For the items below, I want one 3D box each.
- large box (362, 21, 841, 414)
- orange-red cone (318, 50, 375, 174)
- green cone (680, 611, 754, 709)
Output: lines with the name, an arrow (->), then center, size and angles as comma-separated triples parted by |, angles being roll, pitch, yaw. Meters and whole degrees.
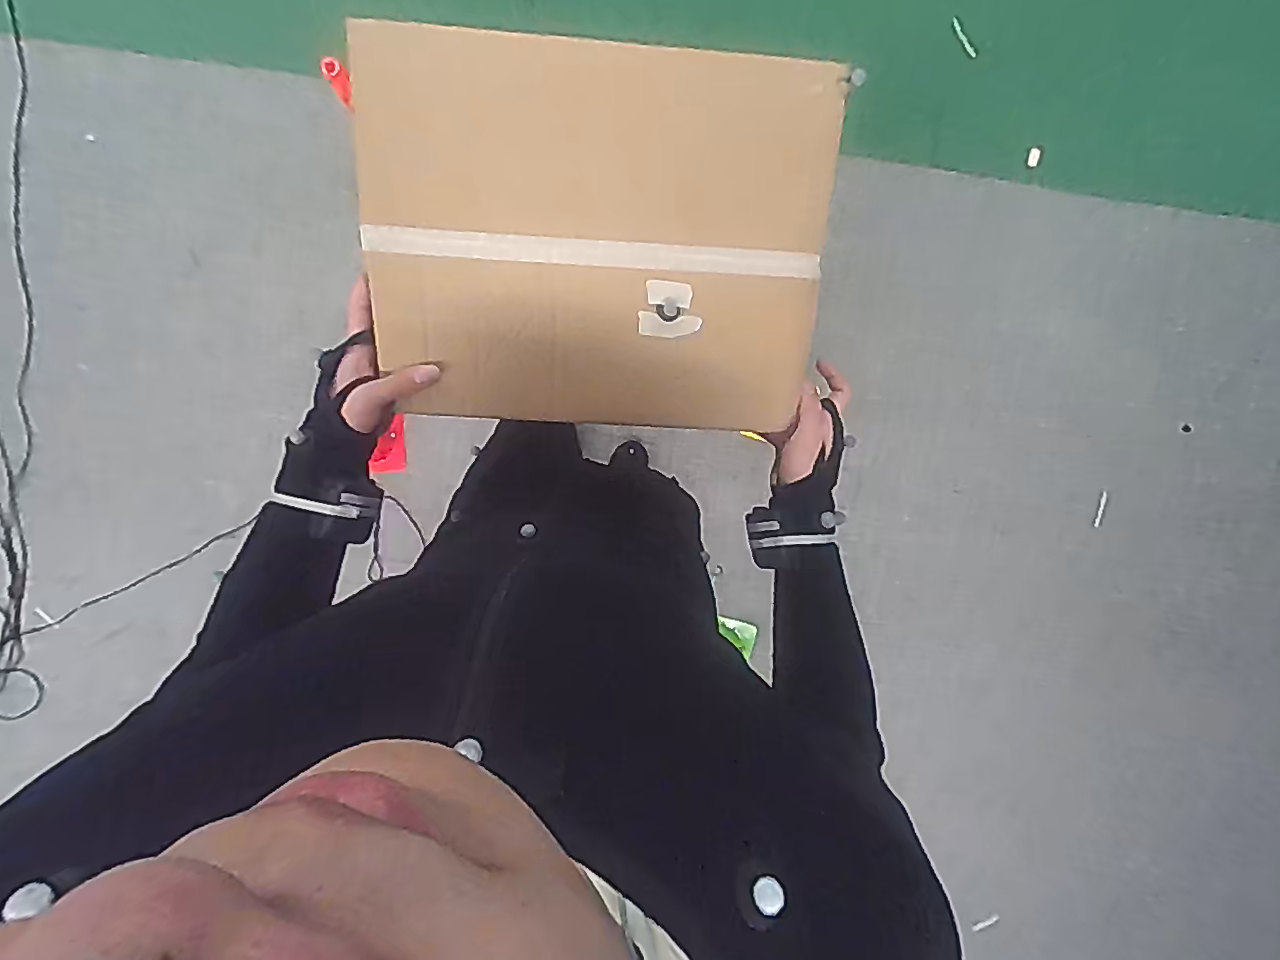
large box -> -0.042, -0.263, 0.631 | 0.408, 0.320, 0.320 | 2, 109, -4
orange-red cone -> -0.671, -0.917, 1.331 | 0.199, 0.360, 0.198 | 16, 96, 0
green cone -> 0.241, 0.534, 1.508 | 0.200, 0.368, 0.202 | 14, 95, -2
